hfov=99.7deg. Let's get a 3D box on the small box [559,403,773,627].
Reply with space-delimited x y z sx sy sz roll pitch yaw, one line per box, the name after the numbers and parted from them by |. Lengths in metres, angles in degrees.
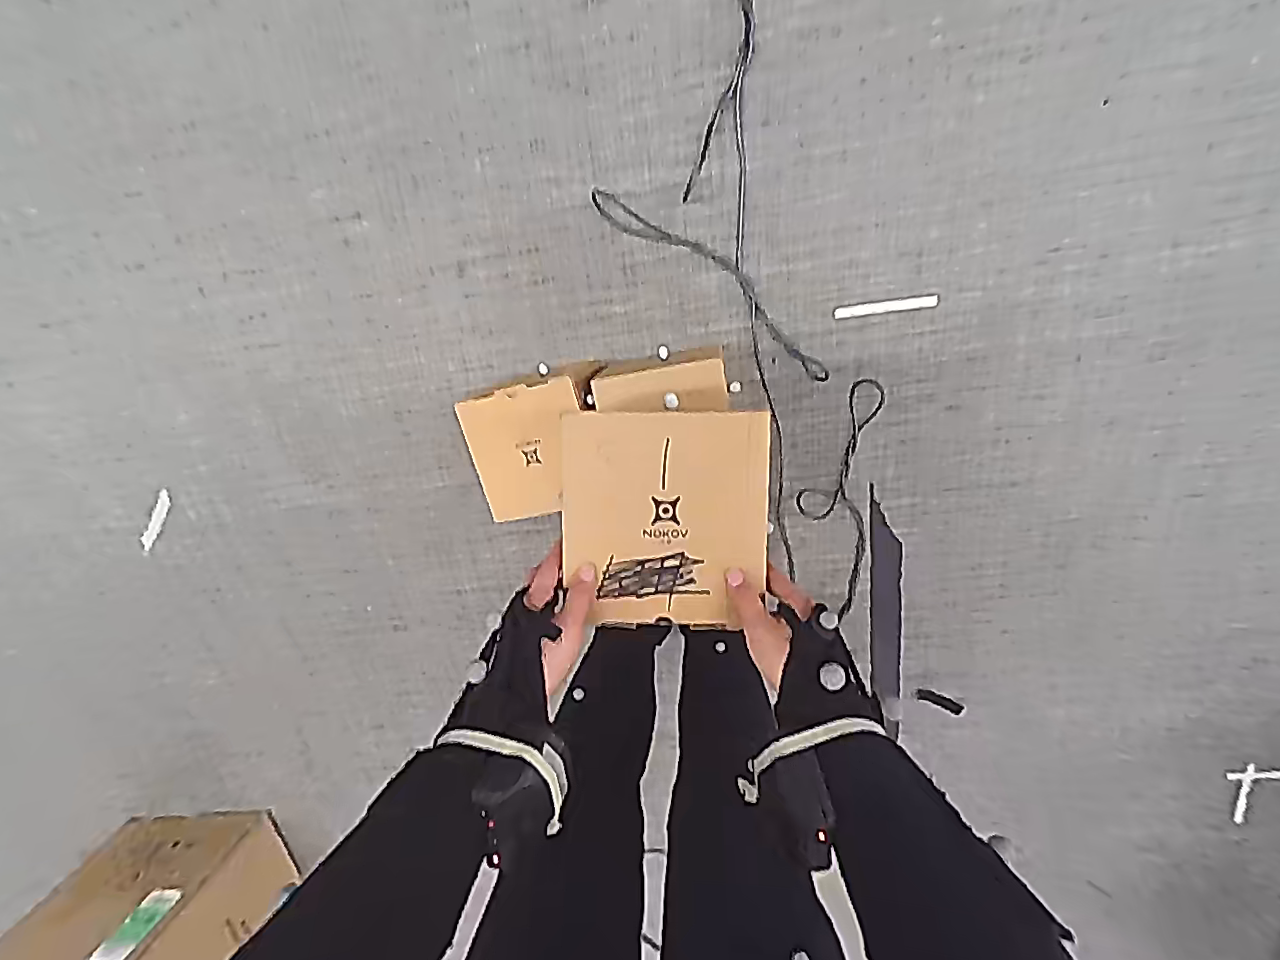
0.022 0.020 0.499 0.168 0.176 0.179 0 96 2 | small box
